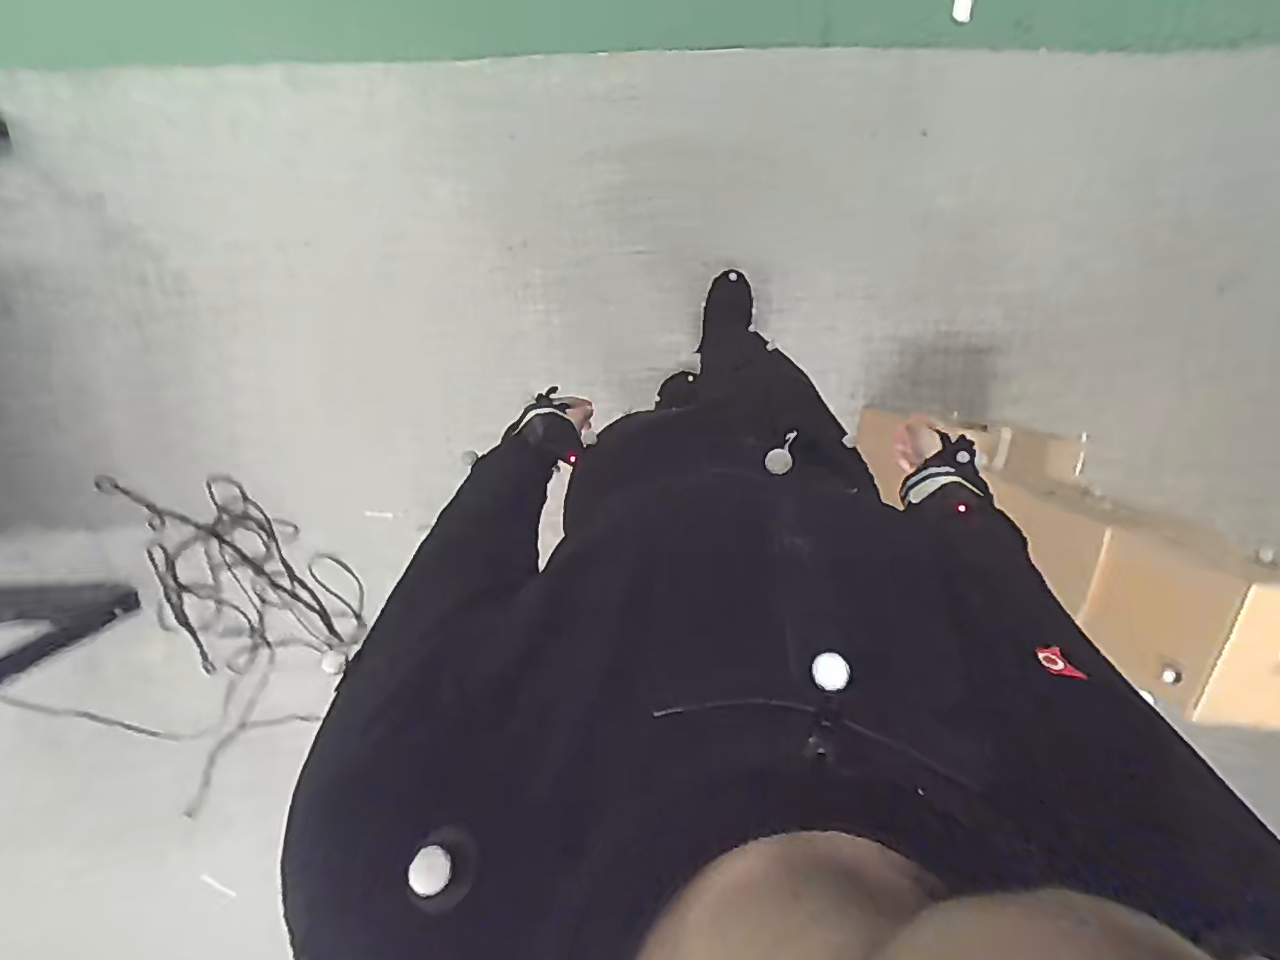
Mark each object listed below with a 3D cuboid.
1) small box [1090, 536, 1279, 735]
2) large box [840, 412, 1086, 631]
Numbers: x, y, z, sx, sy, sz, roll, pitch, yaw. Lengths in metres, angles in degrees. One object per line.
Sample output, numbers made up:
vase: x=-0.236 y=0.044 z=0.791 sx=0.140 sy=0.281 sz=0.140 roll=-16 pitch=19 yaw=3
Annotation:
small box: x=0.705 y=0.178 z=0.655 sx=0.168 sy=0.176 sz=0.179 roll=5 pitch=105 yaw=-2
large box: x=0.683 y=0.074 z=1.216 sx=0.320 sy=0.320 sz=0.408 roll=6 pitch=105 yaw=0
